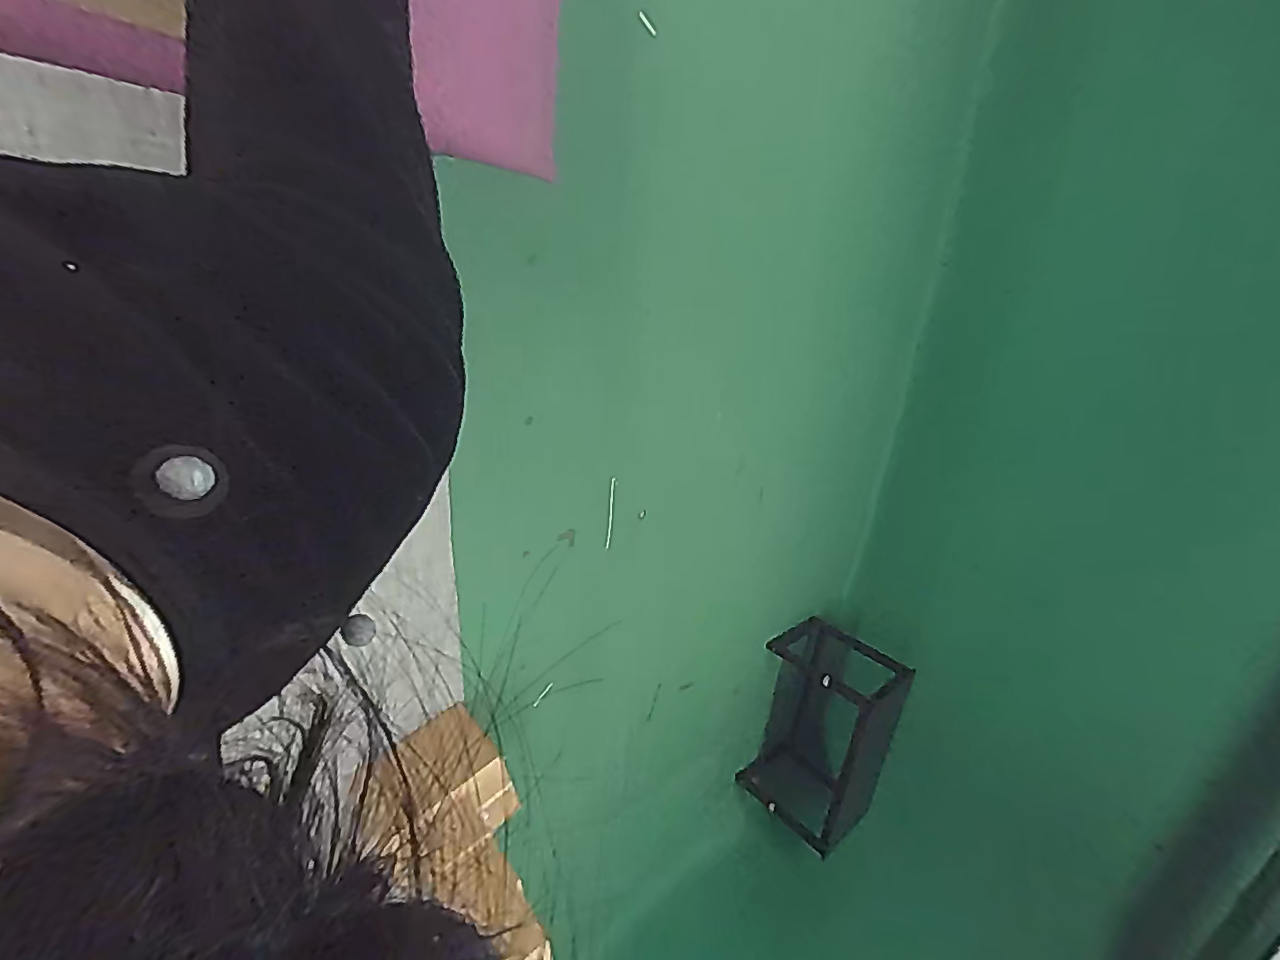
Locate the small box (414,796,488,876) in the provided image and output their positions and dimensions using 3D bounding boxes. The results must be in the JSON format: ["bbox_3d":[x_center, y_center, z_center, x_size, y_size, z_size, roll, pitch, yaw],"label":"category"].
[{"bbox_3d":[-0.570,1.109,1.651,0.168,0.176,0.179,-23,124,-35],"label":"small box"}]

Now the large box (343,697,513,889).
[{"bbox_3d":[-0.713,1.046,1.845,0.408,0.320,0.320,-30,129,-34],"label":"large box"}]

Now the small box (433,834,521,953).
[{"bbox_3d":[-0.465,1.168,1.543,0.179,0.176,0.168,-22,123,-36],"label":"small box"}]
